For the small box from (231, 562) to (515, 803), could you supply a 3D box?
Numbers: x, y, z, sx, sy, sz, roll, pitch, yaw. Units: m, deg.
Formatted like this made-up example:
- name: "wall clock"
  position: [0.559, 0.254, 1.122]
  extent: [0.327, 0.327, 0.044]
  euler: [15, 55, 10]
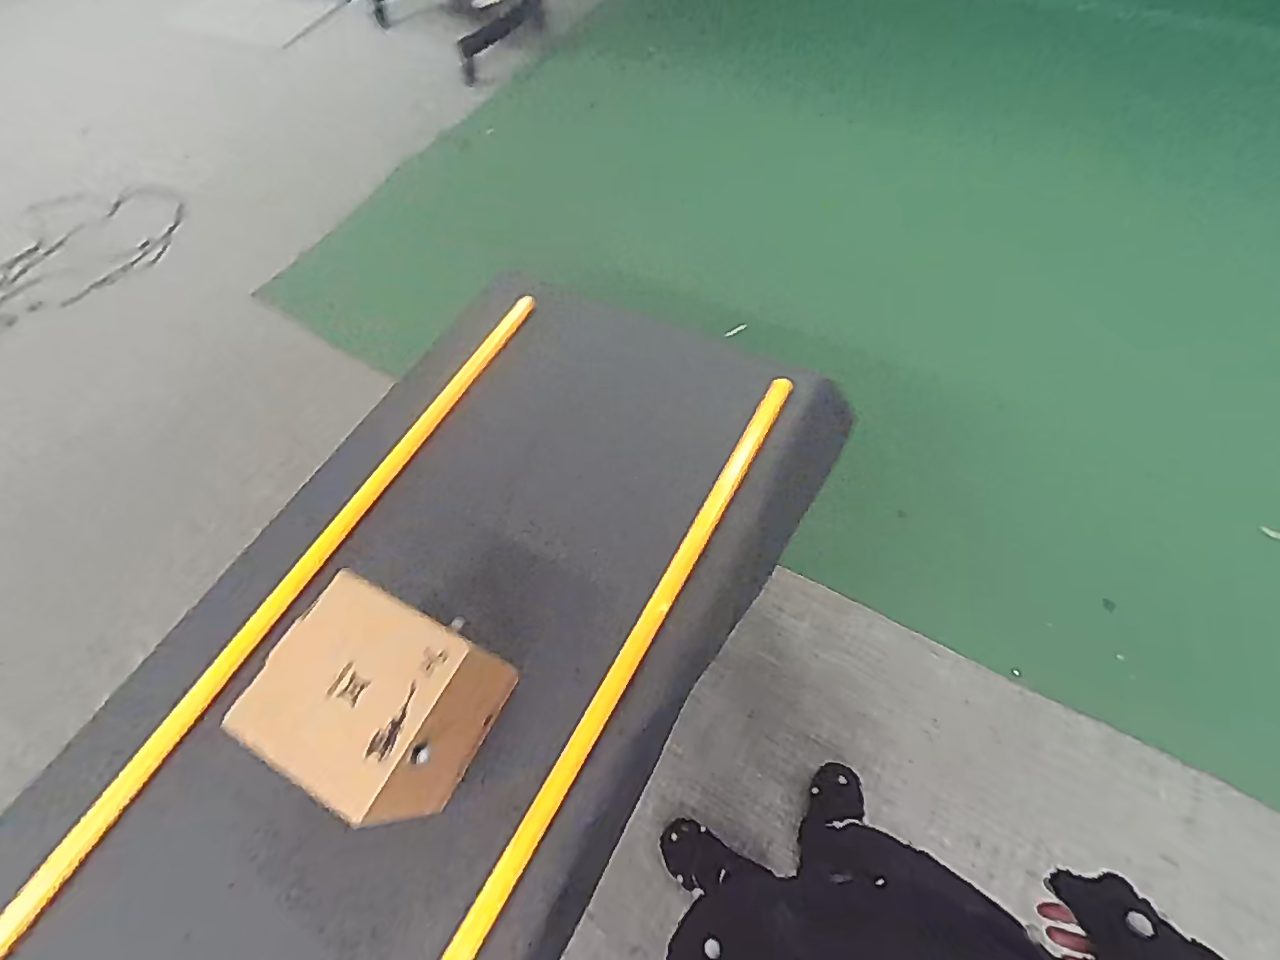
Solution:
- name: "small box"
  position: [-0.268, 0.219, 0.584]
  extent: [0.179, 0.176, 0.168]
  euler: [23, 68, 17]
